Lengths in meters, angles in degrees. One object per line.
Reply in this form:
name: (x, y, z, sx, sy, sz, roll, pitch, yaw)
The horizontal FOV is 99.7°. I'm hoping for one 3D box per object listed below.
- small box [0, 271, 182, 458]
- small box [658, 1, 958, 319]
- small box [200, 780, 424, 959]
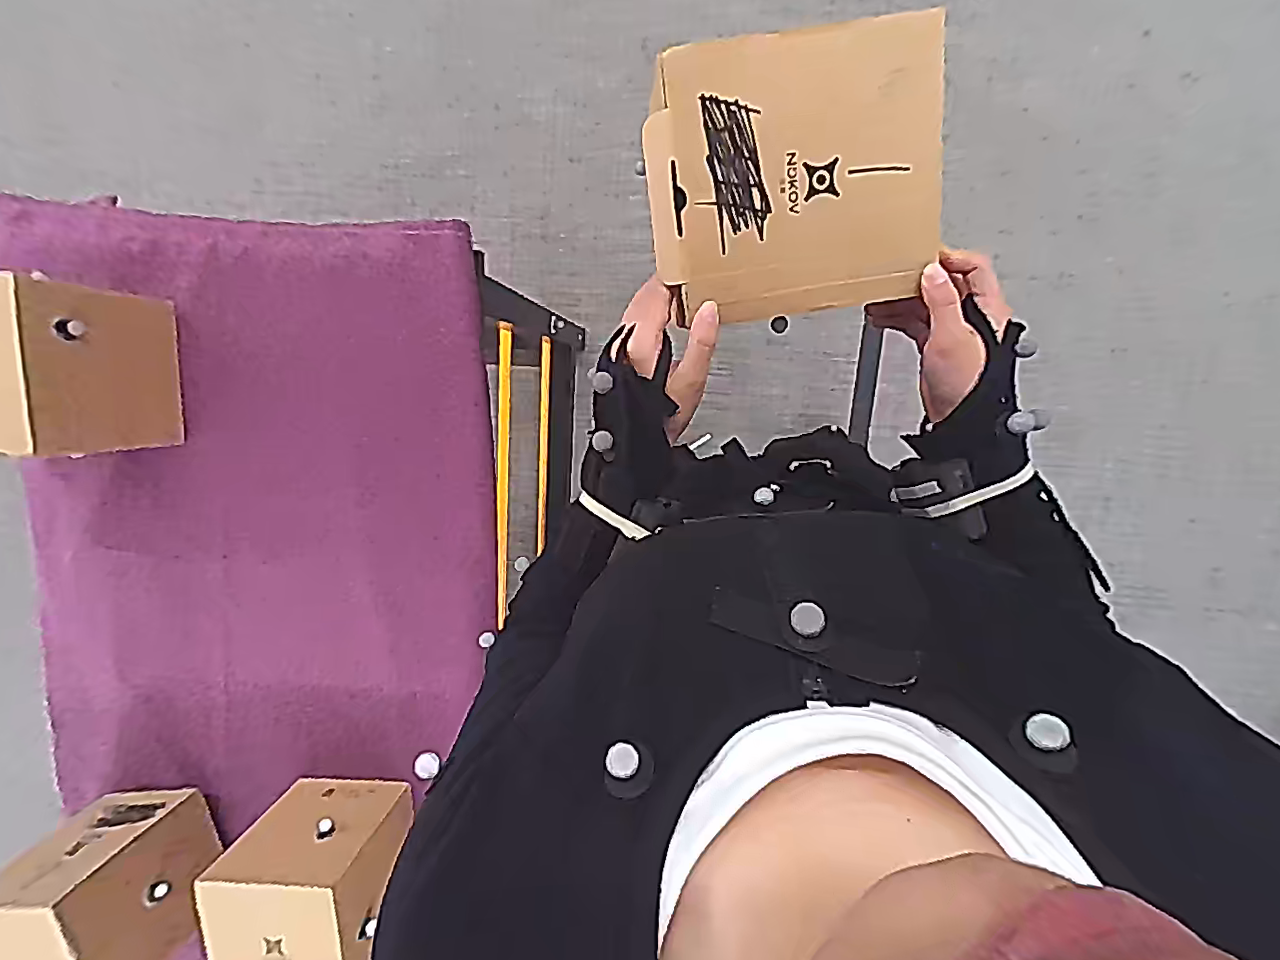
small box: (-0.655, -0.123, 0.594, 0.168, 0.176, 0.179, 4, 99, 3)
small box: (0.109, -0.218, 0.419, 0.179, 0.176, 0.168, -8, 108, 0)
small box: (-0.394, 0.508, 0.680, 0.168, 0.176, 0.179, -2, 99, 6)
